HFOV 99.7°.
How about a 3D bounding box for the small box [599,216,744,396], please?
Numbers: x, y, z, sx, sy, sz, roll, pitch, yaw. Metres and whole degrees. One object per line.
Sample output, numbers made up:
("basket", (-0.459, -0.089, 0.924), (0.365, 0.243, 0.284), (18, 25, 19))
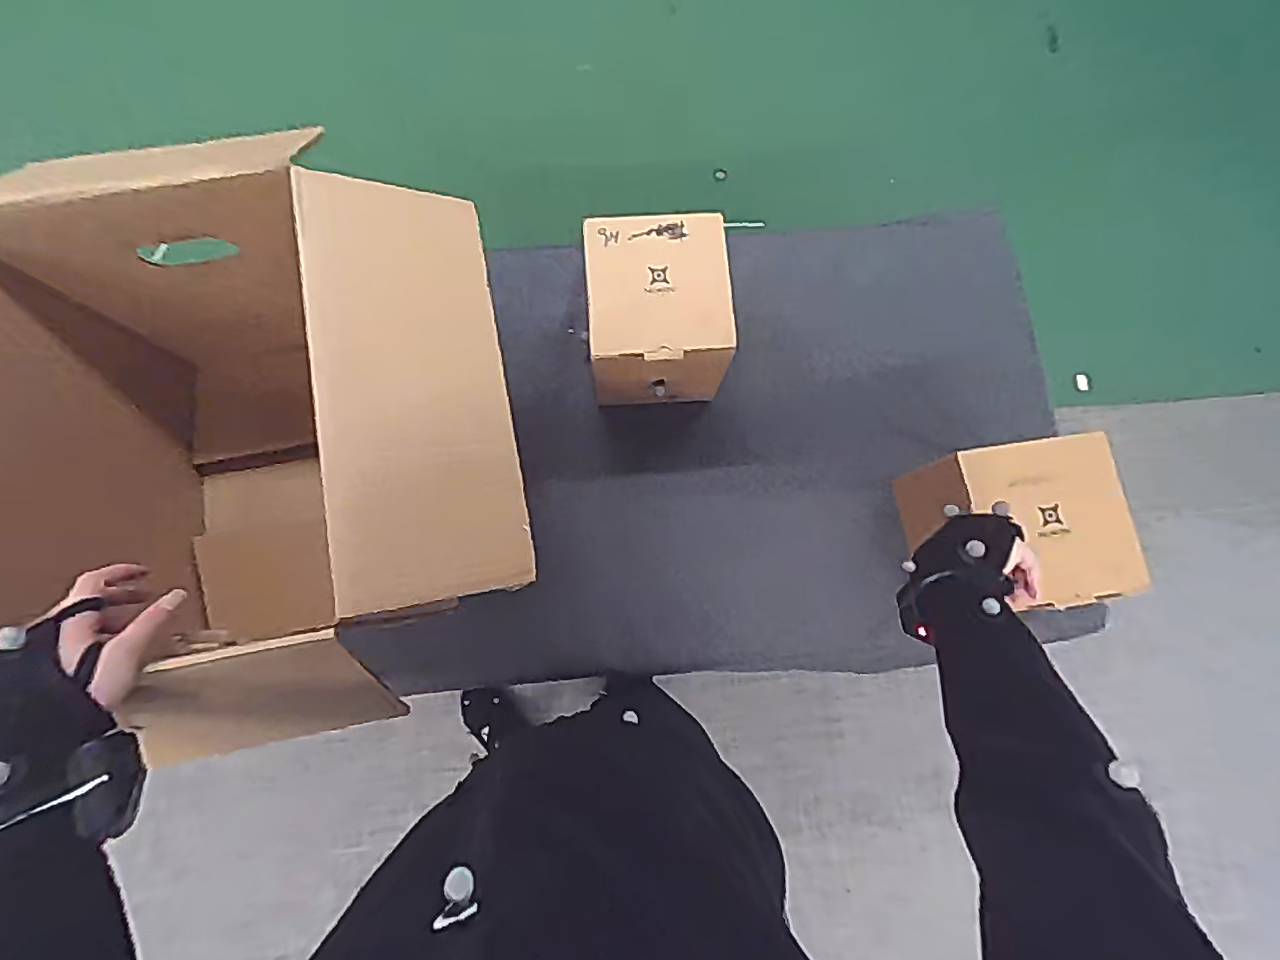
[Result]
("small box", (0.034, -0.214, 0.707), (0.168, 0.176, 0.179), (-2, 80, -2))

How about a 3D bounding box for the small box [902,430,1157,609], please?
("small box", (0.448, 0.054, 0.656), (0.168, 0.176, 0.179), (-8, 78, 0))
